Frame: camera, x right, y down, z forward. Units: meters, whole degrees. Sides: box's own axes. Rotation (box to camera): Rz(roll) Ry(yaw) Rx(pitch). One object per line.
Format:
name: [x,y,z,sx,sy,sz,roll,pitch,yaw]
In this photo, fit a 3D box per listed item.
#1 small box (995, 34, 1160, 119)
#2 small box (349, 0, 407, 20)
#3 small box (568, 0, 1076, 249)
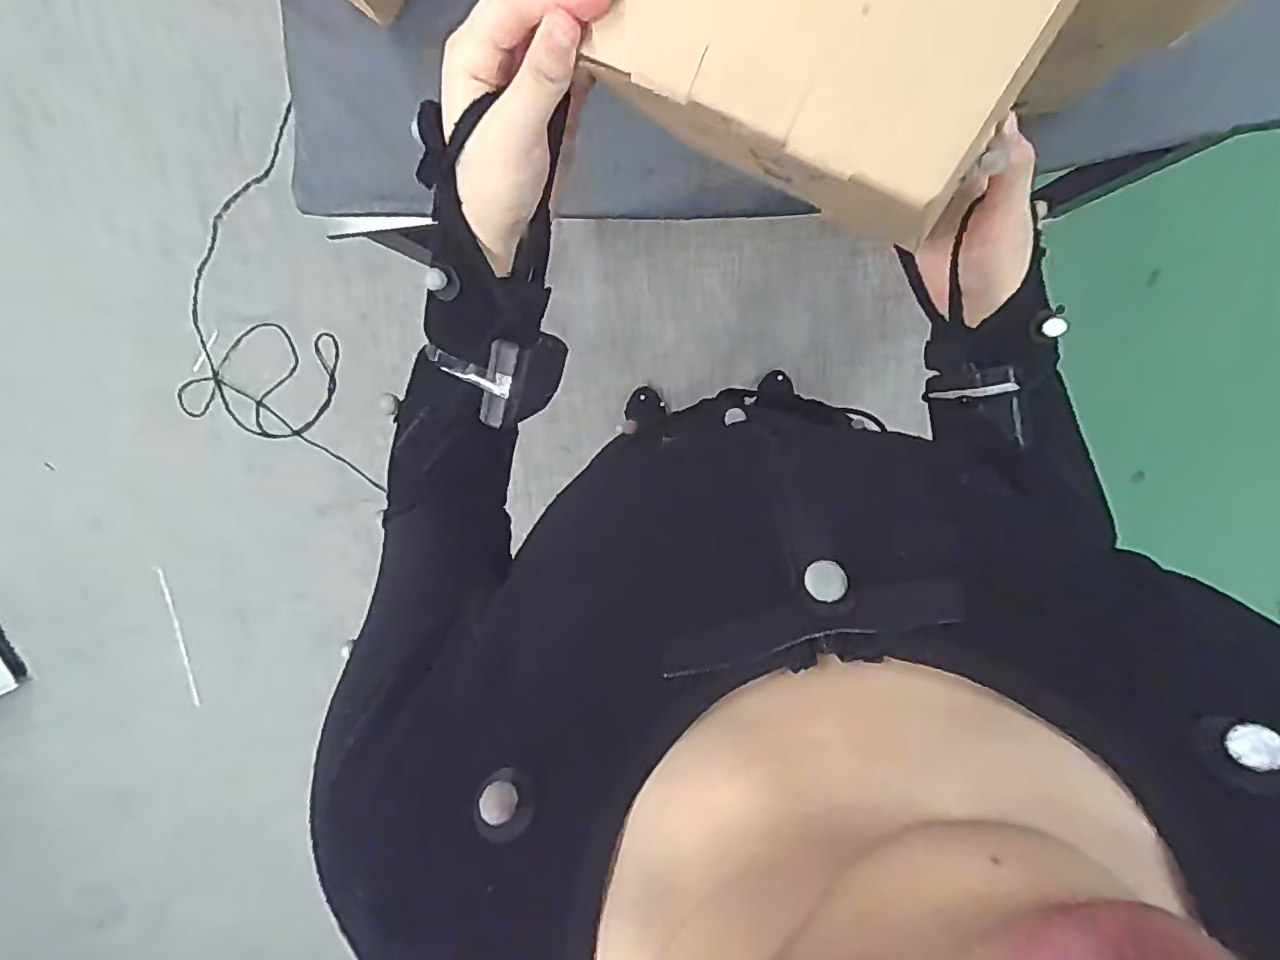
small box: [0.403,-0.503,0.551,0.168,0.176,0.179,-3,99,6]
small box: [-0.345,-0.668,0.588,0.179,0.176,0.168,36,101,-2]
small box: [0.102,-0.228,0.248,0.168,0.179,0.176,35,121,13]
